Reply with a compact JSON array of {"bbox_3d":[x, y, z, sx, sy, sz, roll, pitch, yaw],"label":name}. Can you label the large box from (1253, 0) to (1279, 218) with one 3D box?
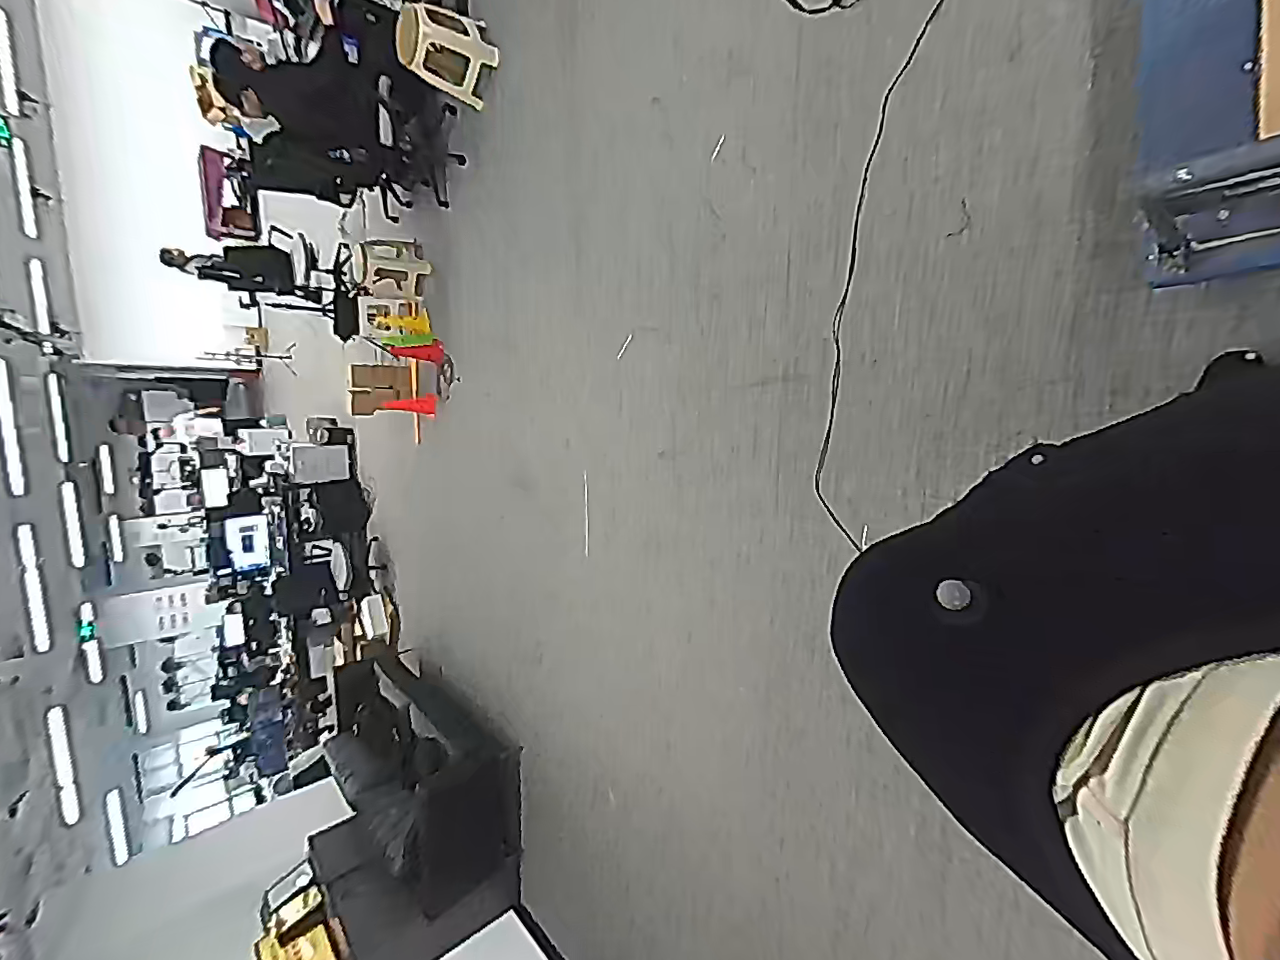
[{"bbox_3d":[1.088,-0.653,0.748,0.320,0.320,0.408,1,94,47],"label":"large box"}]
